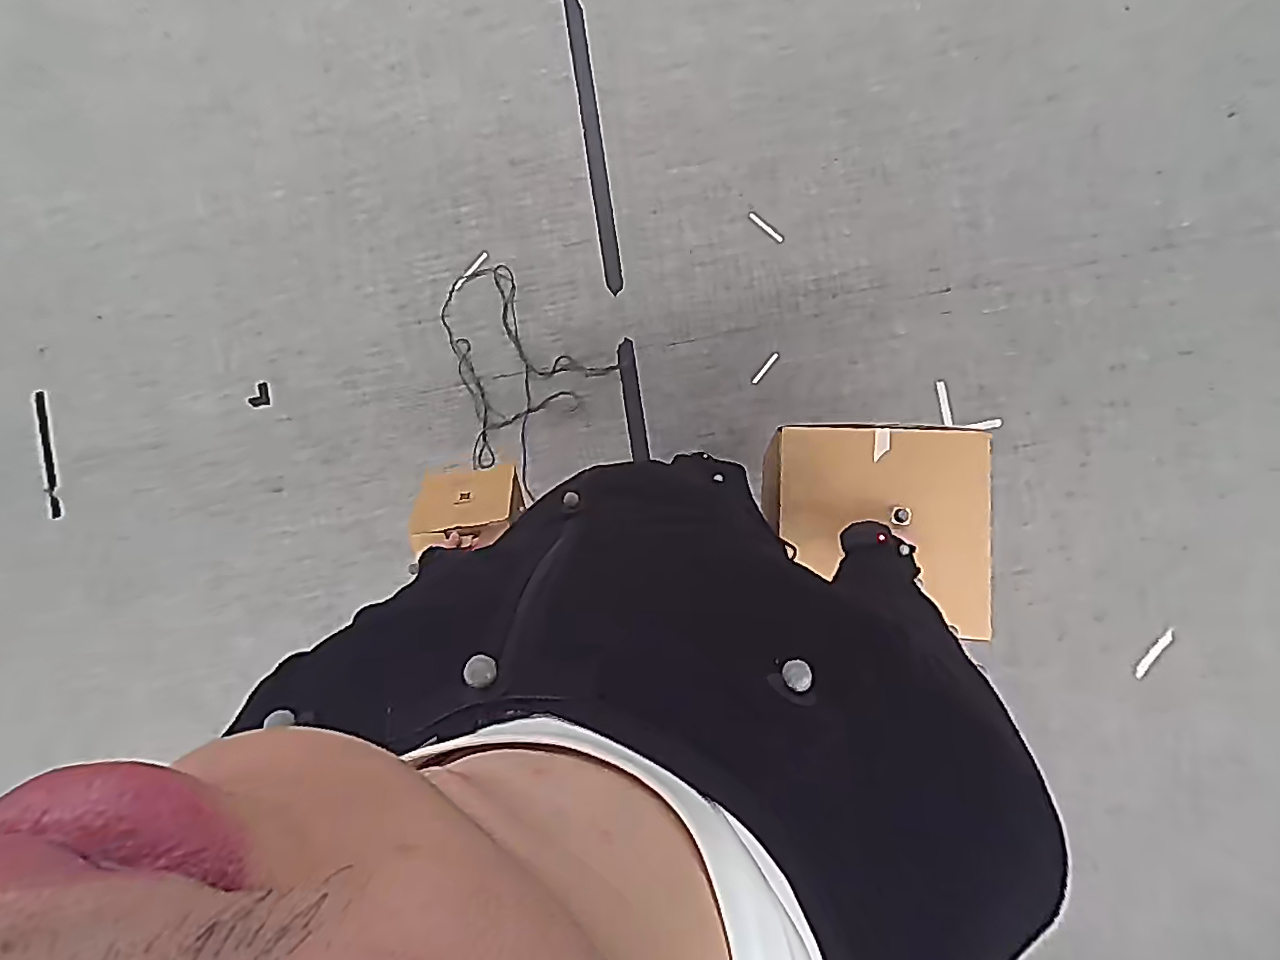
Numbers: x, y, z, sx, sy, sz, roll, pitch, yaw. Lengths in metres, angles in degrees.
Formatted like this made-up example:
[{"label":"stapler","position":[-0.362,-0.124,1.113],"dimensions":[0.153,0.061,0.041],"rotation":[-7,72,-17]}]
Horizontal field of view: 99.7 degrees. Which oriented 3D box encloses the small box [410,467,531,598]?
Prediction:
[{"label":"small box","position":[-0.300,0.100,0.997],"dimensions":[0.168,0.179,0.176],"rotation":[-8,123,-4]}]
